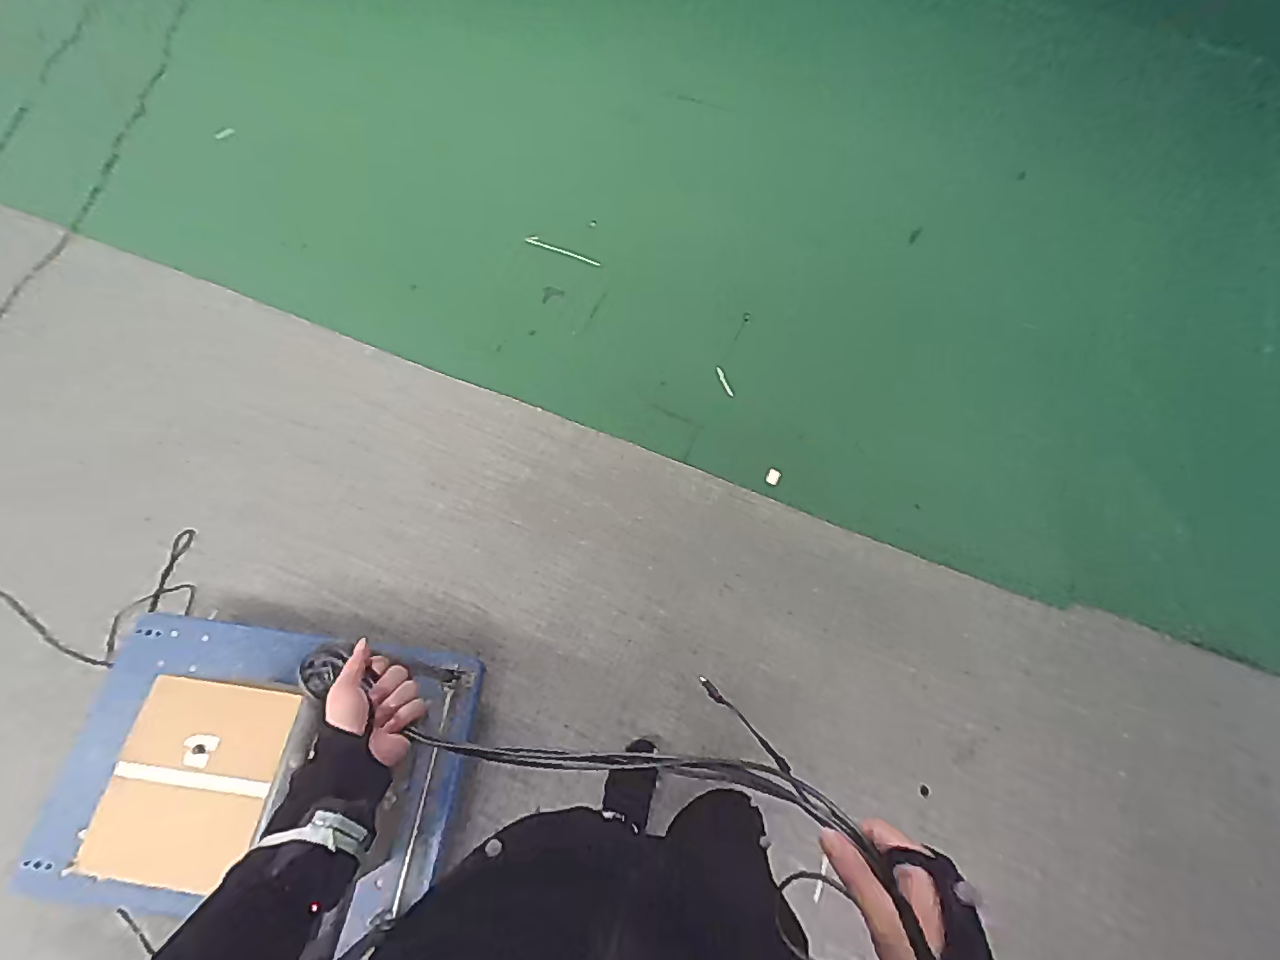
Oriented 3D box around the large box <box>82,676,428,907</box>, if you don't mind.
[{"bbox_3d":[-0.702,0.581,1.071,0.408,0.320,0.320,7,66,4],"label":"large box"}]
